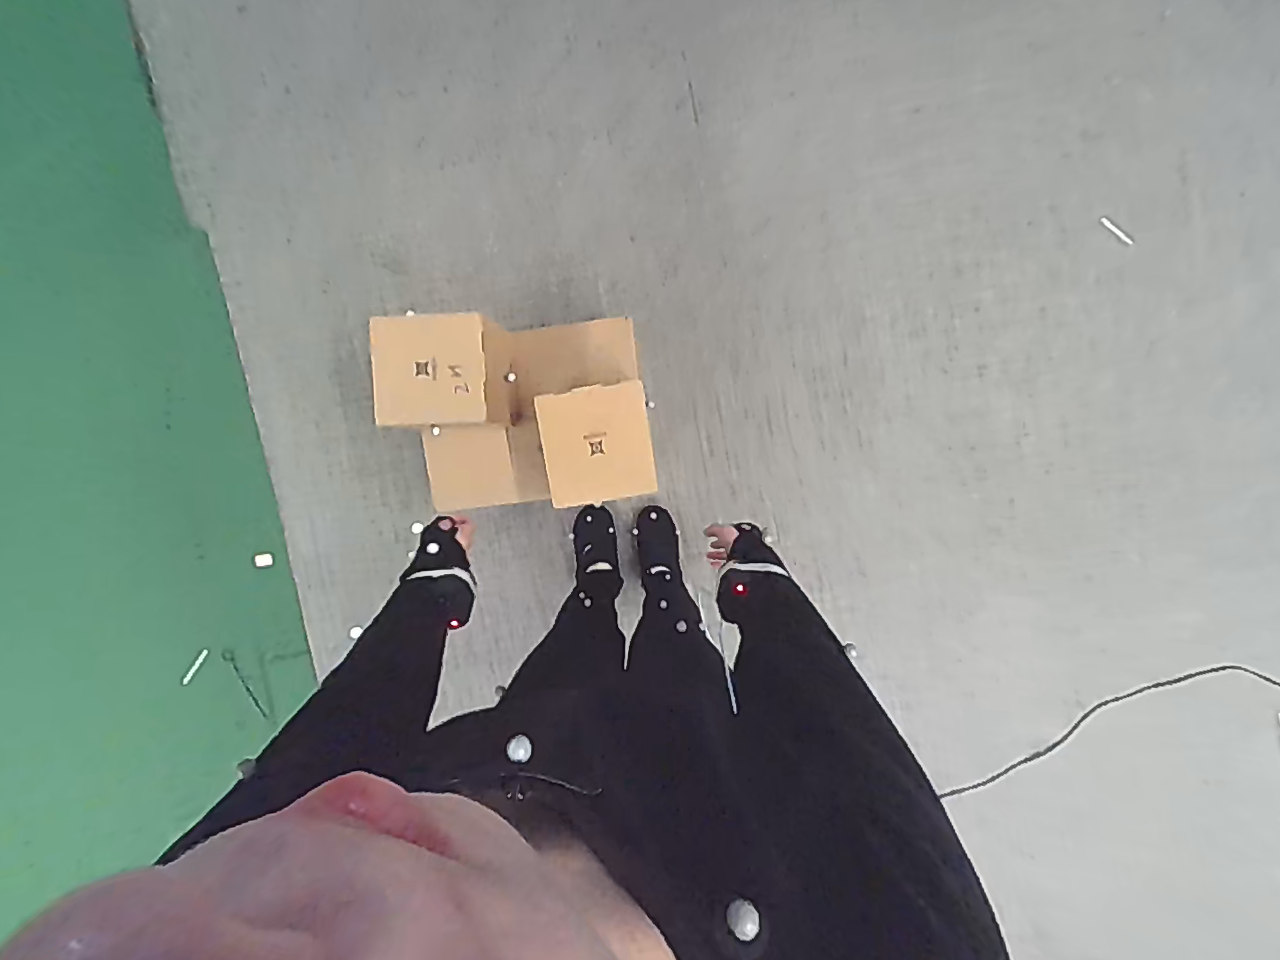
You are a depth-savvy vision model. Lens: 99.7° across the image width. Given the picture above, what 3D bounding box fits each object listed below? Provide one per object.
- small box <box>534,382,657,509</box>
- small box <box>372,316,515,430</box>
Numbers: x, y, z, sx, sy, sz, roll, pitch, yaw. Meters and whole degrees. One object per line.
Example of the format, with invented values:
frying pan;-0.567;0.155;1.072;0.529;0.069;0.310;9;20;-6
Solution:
small box;-0.064;-0.058;0.896;0.168;0.176;0.179;-9;94;2
small box;-0.317;-0.169;0.900;0.179;0.176;0.168;-1;93;2
